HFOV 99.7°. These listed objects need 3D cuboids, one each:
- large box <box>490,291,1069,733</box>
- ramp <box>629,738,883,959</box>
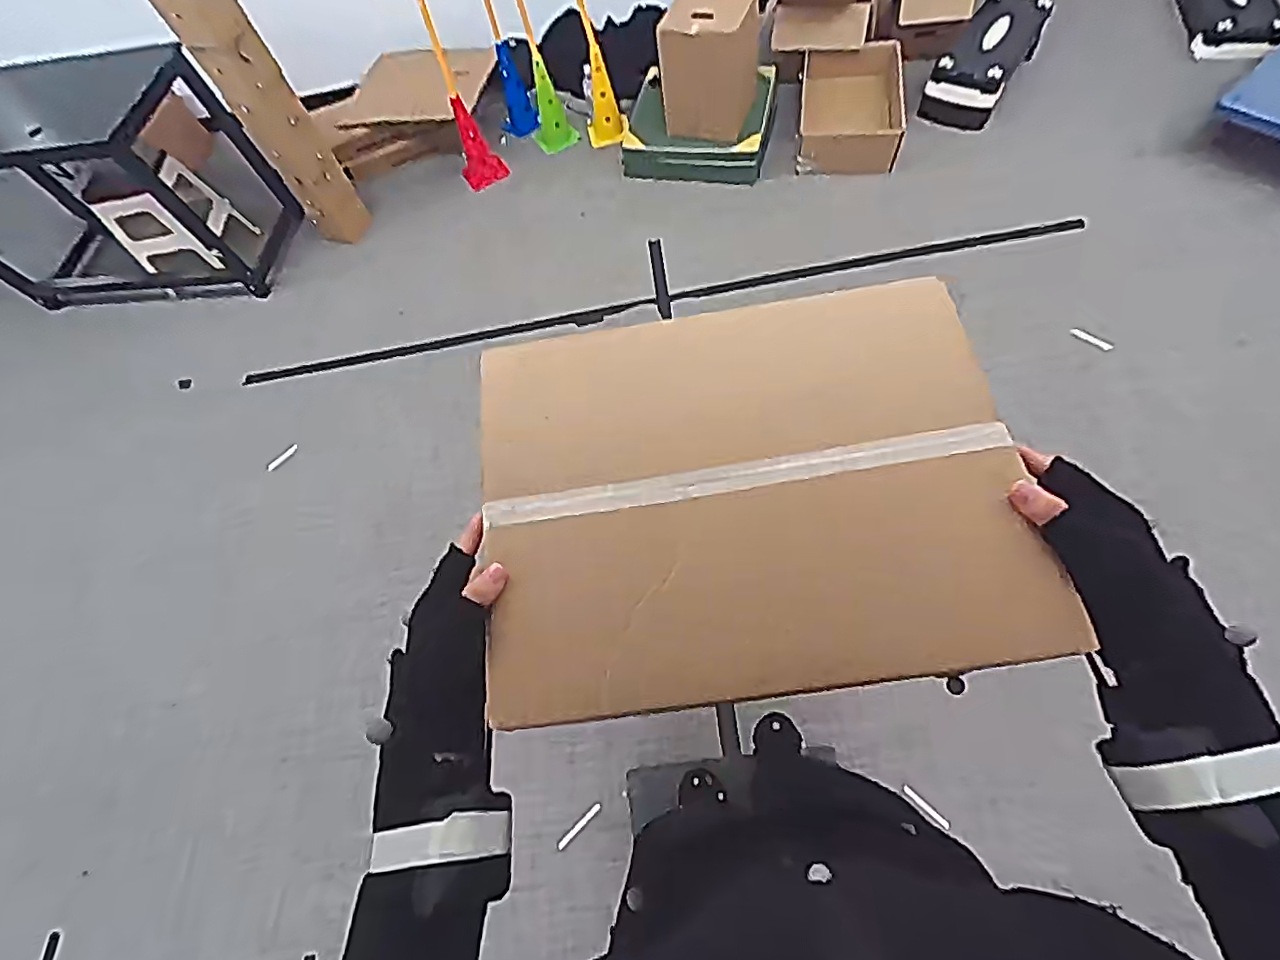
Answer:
[{"bbox_3d":[0.096,0.058,0.568,0.408,0.320,0.320,-9,67,3],"label":"large box"},{"bbox_3d":[0.279,1.107,1.133,0.509,0.206,0.991,-10,64,3],"label":"ramp"}]
